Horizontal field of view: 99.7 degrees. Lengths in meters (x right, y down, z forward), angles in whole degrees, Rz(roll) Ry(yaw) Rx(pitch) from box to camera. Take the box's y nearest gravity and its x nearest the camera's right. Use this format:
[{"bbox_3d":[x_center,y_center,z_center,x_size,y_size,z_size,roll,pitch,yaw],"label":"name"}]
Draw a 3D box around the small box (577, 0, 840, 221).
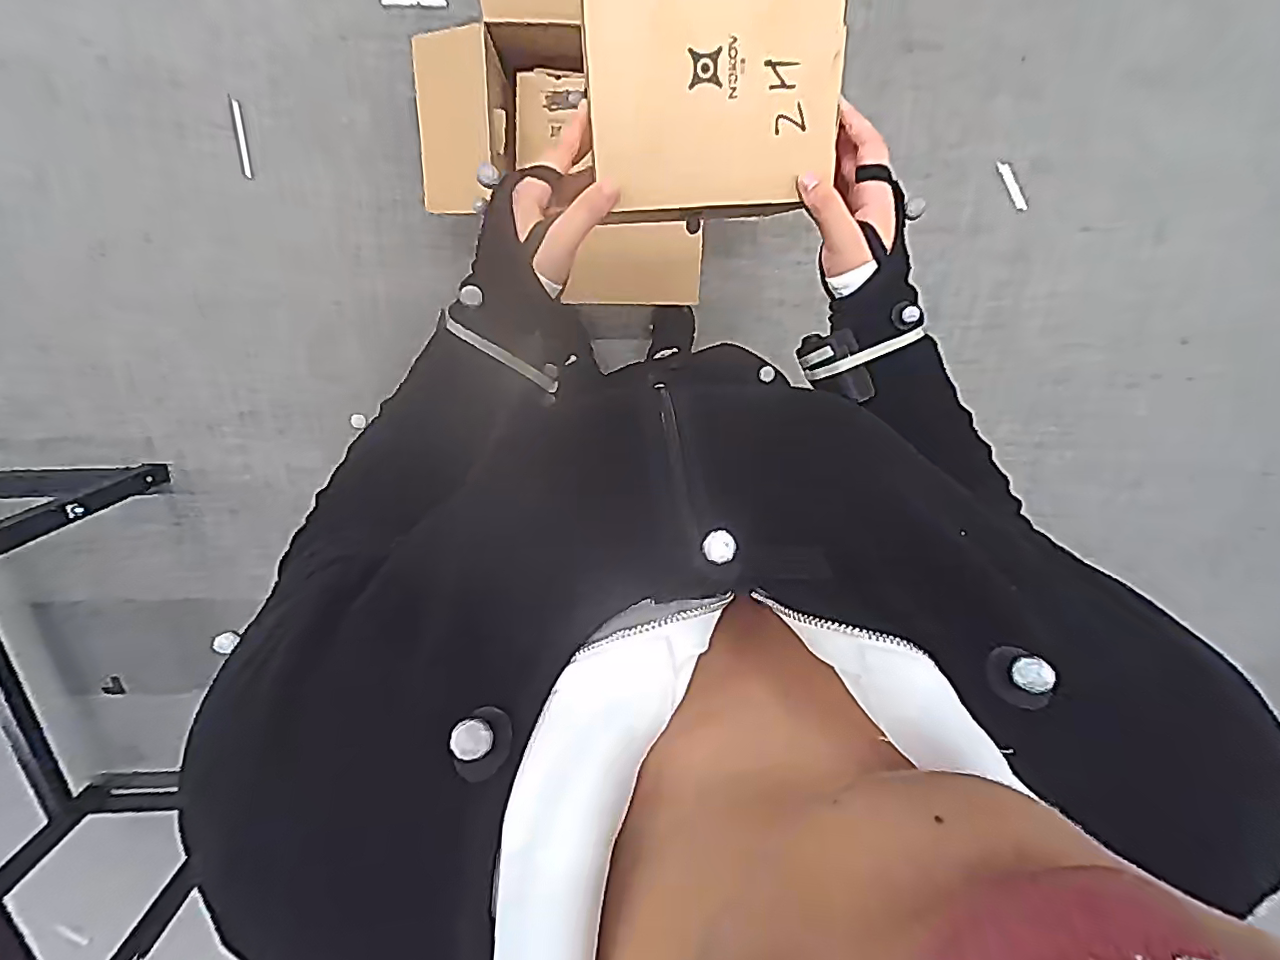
[{"bbox_3d":[0.042,-0.310,0.443,0.179,0.176,0.168,-5,113,-4],"label":"small box"}]
